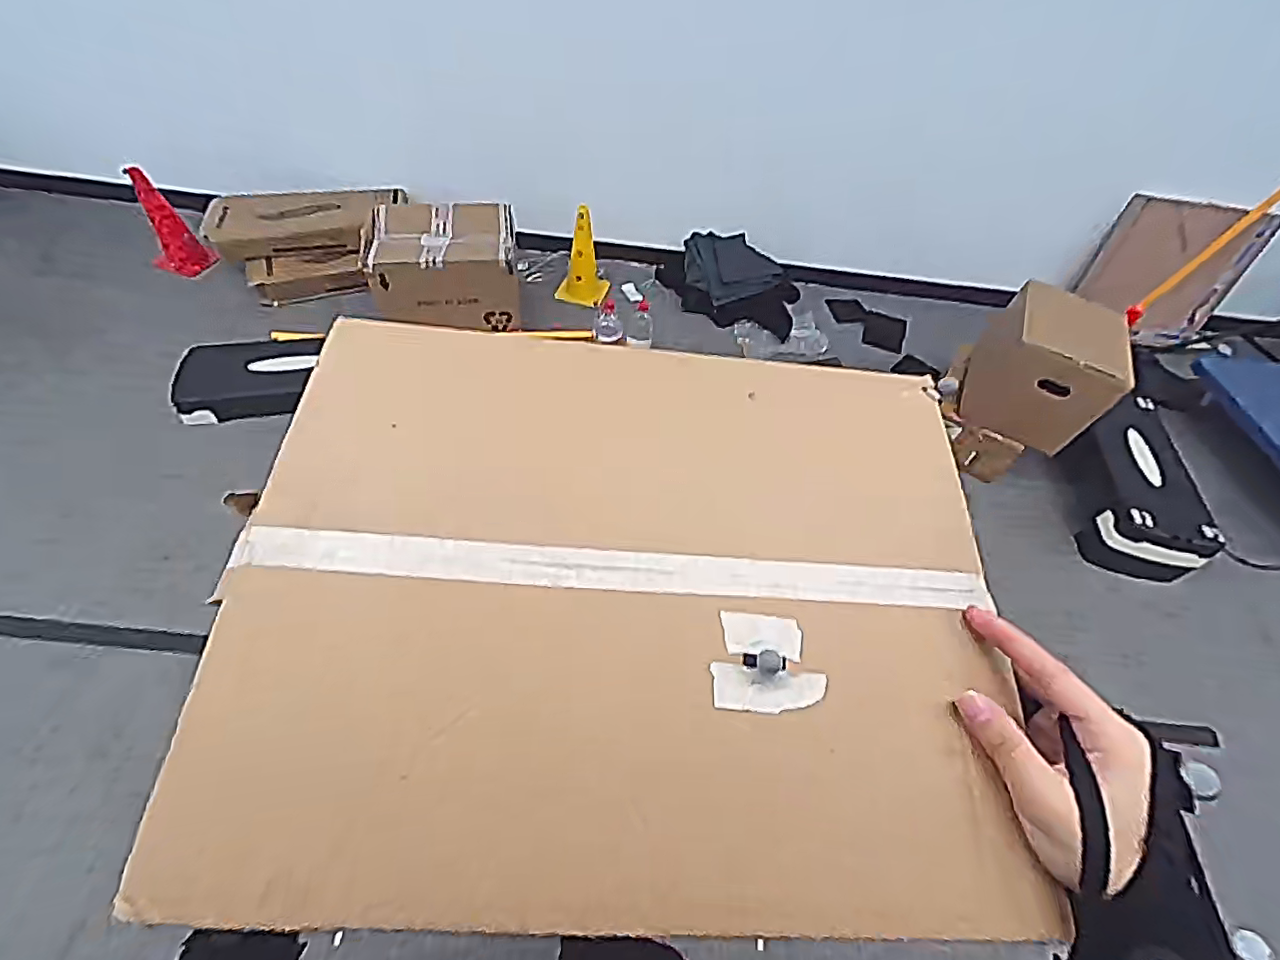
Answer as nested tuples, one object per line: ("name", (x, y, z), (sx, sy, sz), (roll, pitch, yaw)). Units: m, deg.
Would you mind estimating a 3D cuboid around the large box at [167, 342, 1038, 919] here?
("large box", (-0.017, 0.123, 0.441), (0.408, 0.320, 0.320), (5, 64, -5))
